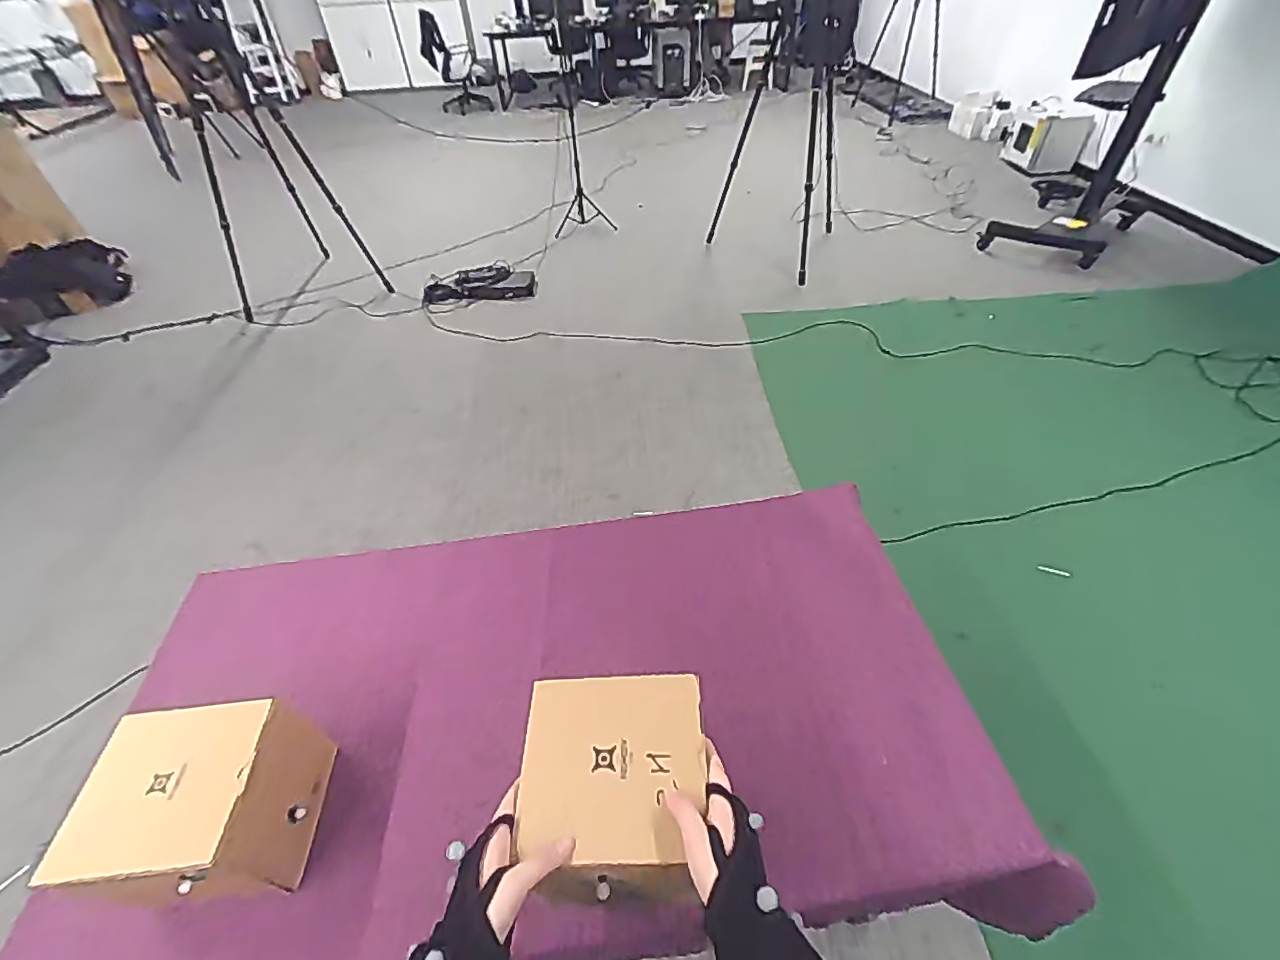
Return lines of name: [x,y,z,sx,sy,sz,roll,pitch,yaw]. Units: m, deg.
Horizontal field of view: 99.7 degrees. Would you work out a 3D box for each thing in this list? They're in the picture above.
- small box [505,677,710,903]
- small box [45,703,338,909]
small box: [-0.021,0.326,0.566,0.179,0.176,0.168,-3,43,4]
small box: [-0.503,0.389,0.644,0.179,0.176,0.168,-6,45,-2]
